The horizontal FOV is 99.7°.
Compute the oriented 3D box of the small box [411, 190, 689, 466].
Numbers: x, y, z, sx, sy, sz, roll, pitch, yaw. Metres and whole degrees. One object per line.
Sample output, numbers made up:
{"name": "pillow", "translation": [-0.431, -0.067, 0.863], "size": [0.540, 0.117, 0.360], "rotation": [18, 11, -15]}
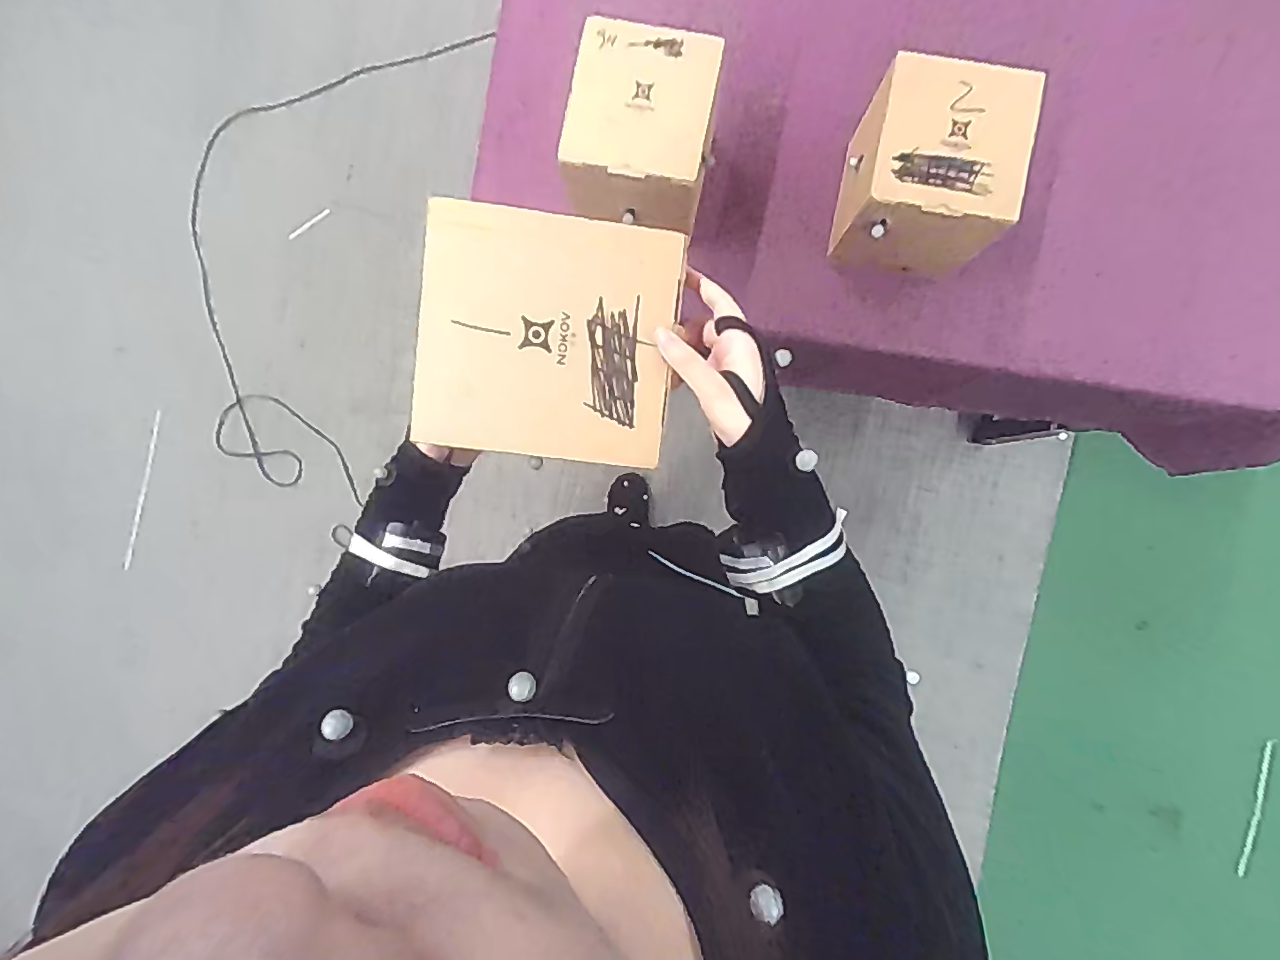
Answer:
{"name": "small box", "translation": [-0.069, -0.111, 0.453], "size": [0.179, 0.176, 0.168], "rotation": [7, 96, -6]}

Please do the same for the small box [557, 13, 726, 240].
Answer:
{"name": "small box", "translation": [0.004, -0.435, 0.699], "size": [0.168, 0.176, 0.179], "rotation": [13, 91, 1]}
